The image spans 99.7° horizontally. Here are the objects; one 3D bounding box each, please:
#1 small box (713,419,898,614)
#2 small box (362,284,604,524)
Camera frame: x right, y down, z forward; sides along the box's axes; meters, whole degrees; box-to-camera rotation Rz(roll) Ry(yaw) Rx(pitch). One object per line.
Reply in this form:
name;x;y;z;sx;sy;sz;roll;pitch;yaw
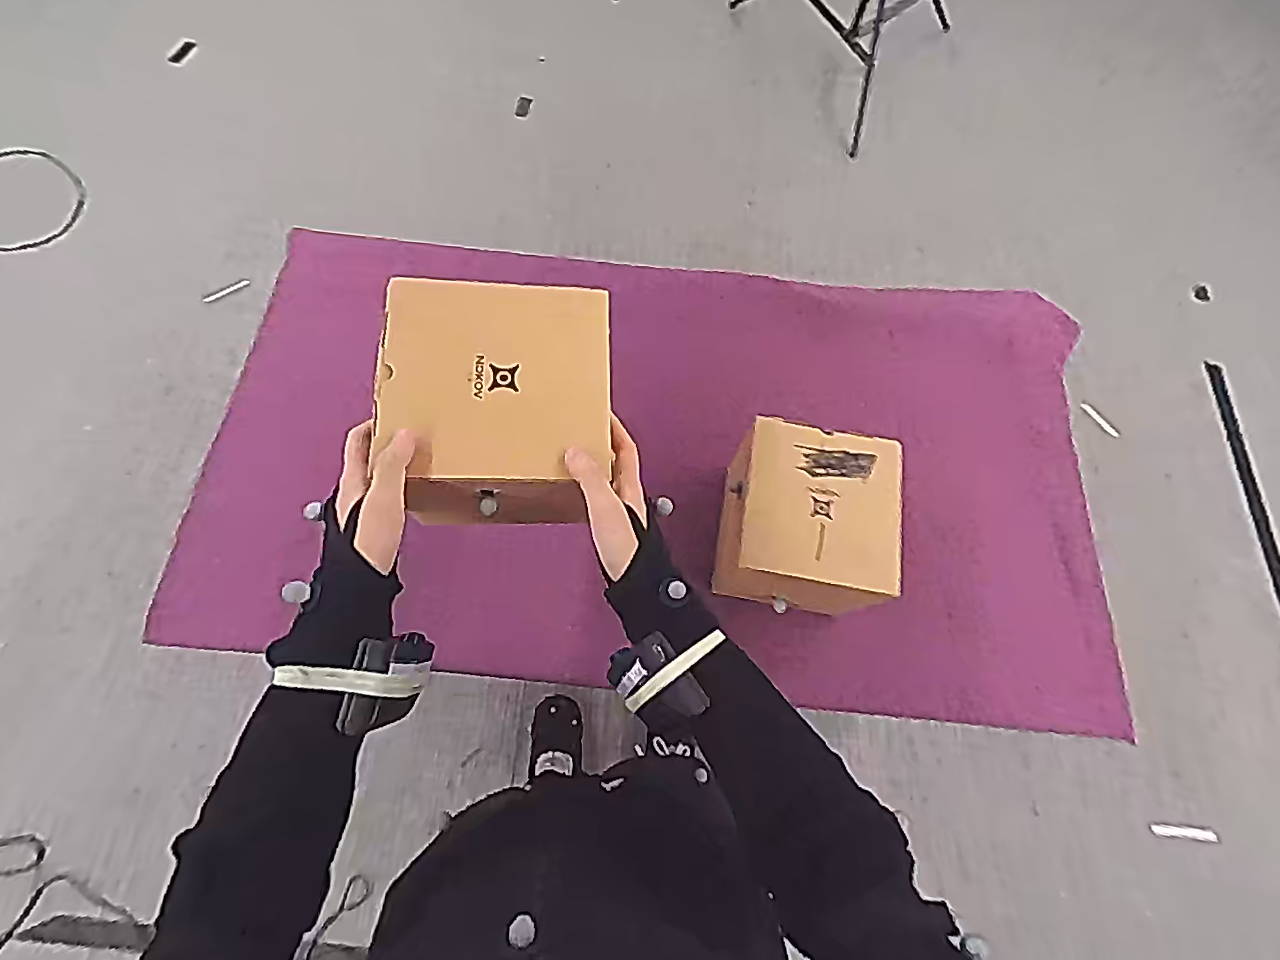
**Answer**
small box;0.189;0.052;0.651;0.168;0.176;0.179;11;70;2
small box;-0.128;-0.055;0.497;0.179;0.176;0.168;0;75;-8
